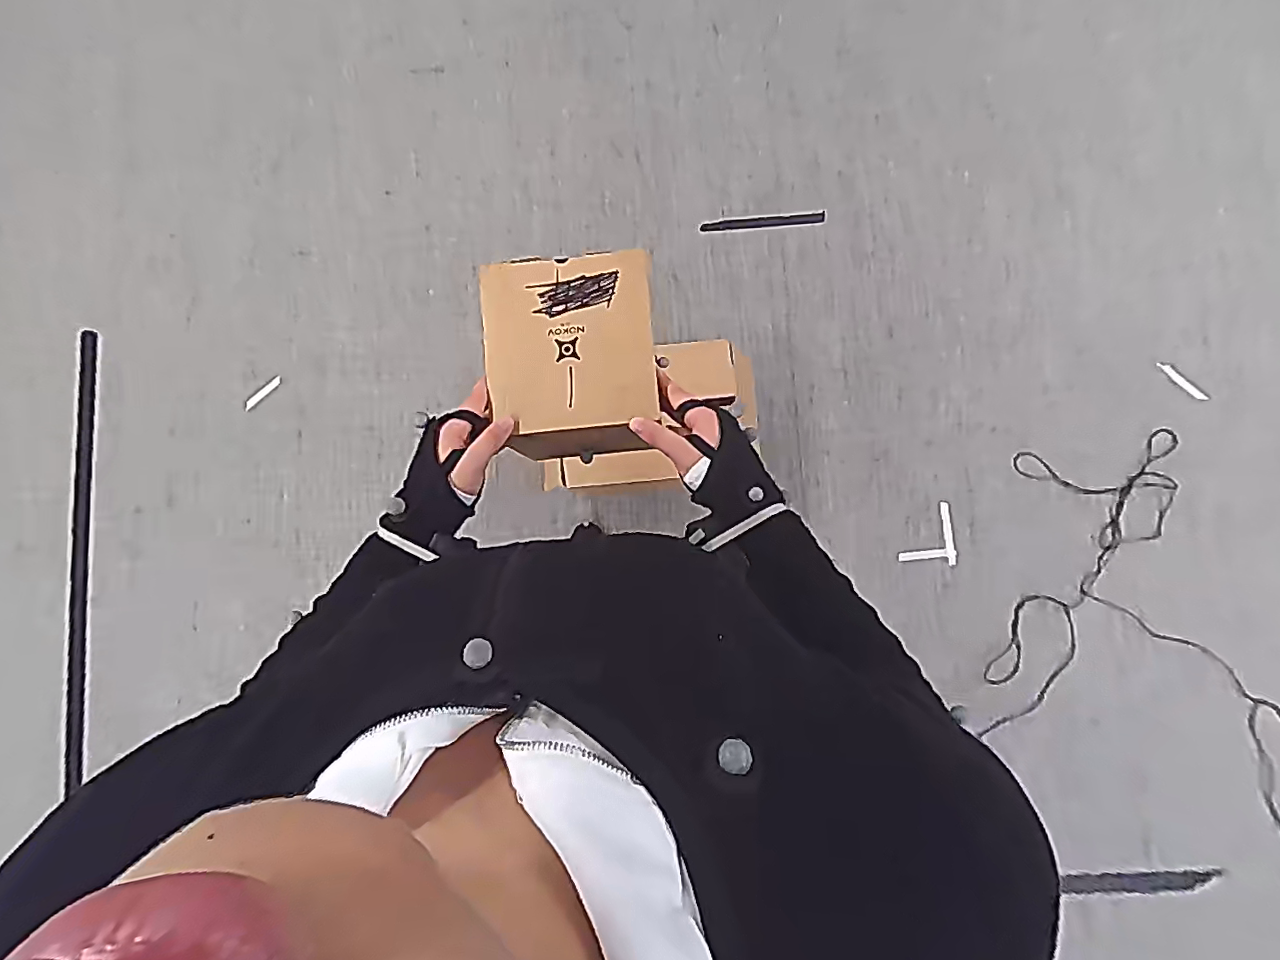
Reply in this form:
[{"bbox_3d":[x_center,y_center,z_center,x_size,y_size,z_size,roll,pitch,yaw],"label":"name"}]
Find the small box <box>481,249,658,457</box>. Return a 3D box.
[{"bbox_3d":[-0.069,-0.128,0.604,0.168,0.176,0.179,-5,85,2],"label":"small box"}]
